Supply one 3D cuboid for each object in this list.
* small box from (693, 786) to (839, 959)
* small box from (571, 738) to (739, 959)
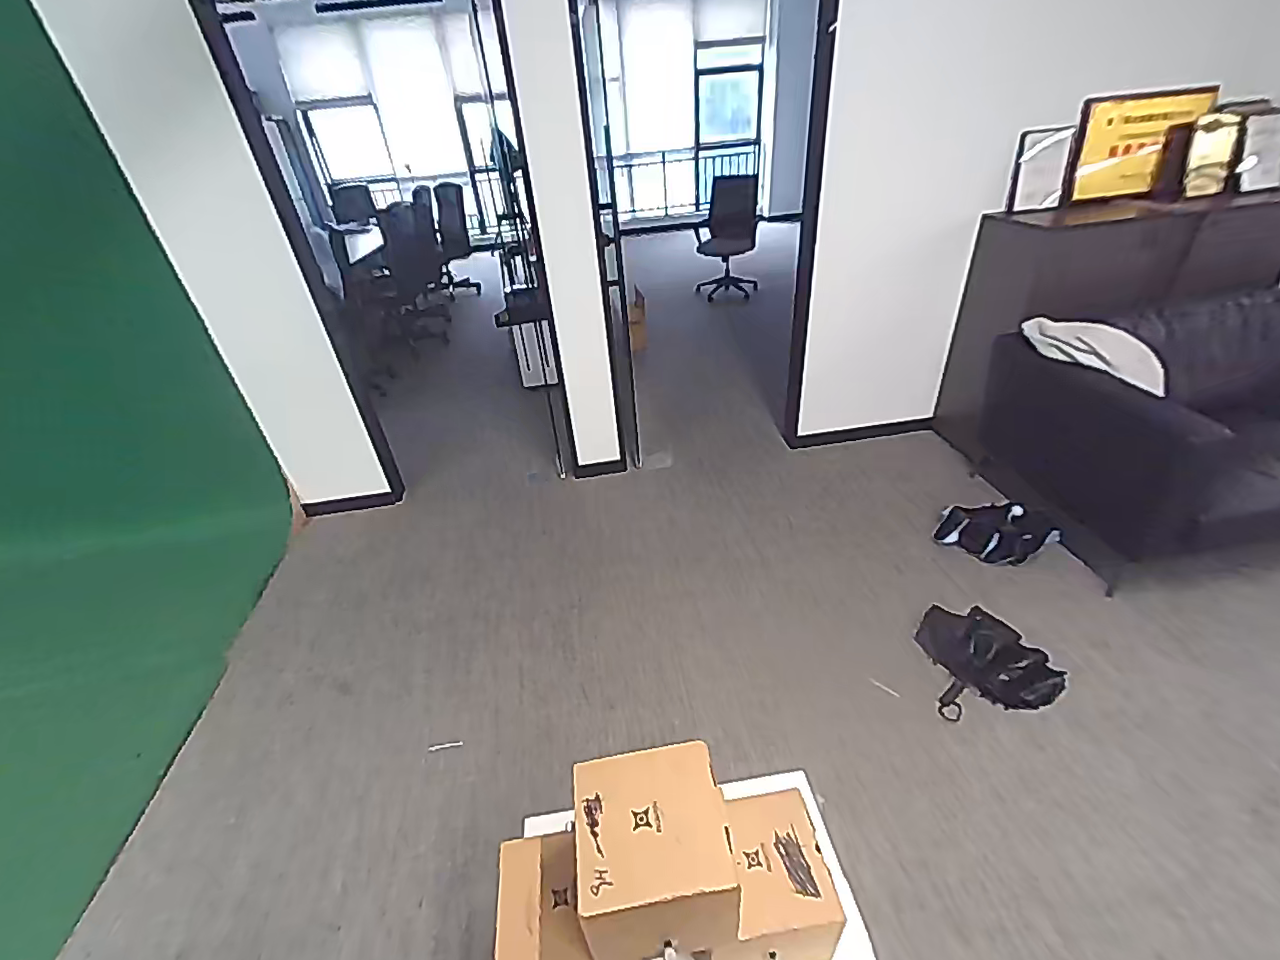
[{"bbox_3d":[0.155,0.571,0.769,0.179,0.176,0.168,-7,34,-5],"label":"small box"},{"bbox_3d":[0.011,0.451,0.666,0.179,0.176,0.168,-6,34,-5],"label":"small box"}]
